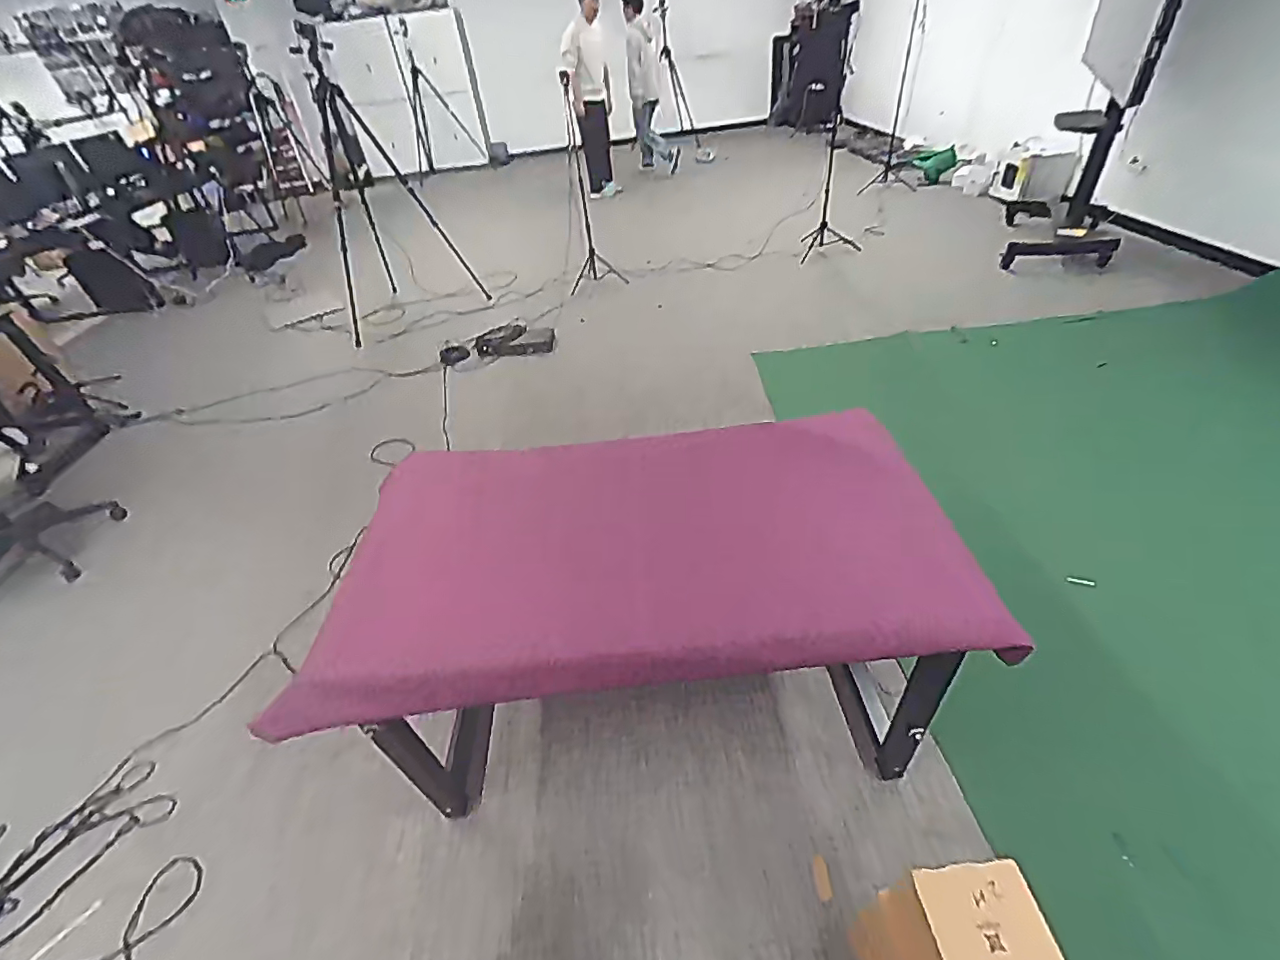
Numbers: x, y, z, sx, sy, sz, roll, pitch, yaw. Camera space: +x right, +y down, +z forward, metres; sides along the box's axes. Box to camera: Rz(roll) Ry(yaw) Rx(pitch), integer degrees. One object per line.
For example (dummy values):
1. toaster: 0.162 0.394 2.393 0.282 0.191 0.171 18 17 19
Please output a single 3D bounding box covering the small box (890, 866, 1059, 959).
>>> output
1. small box: 0.510 0.722 0.825 0.168 0.176 0.179 -6 41 0
